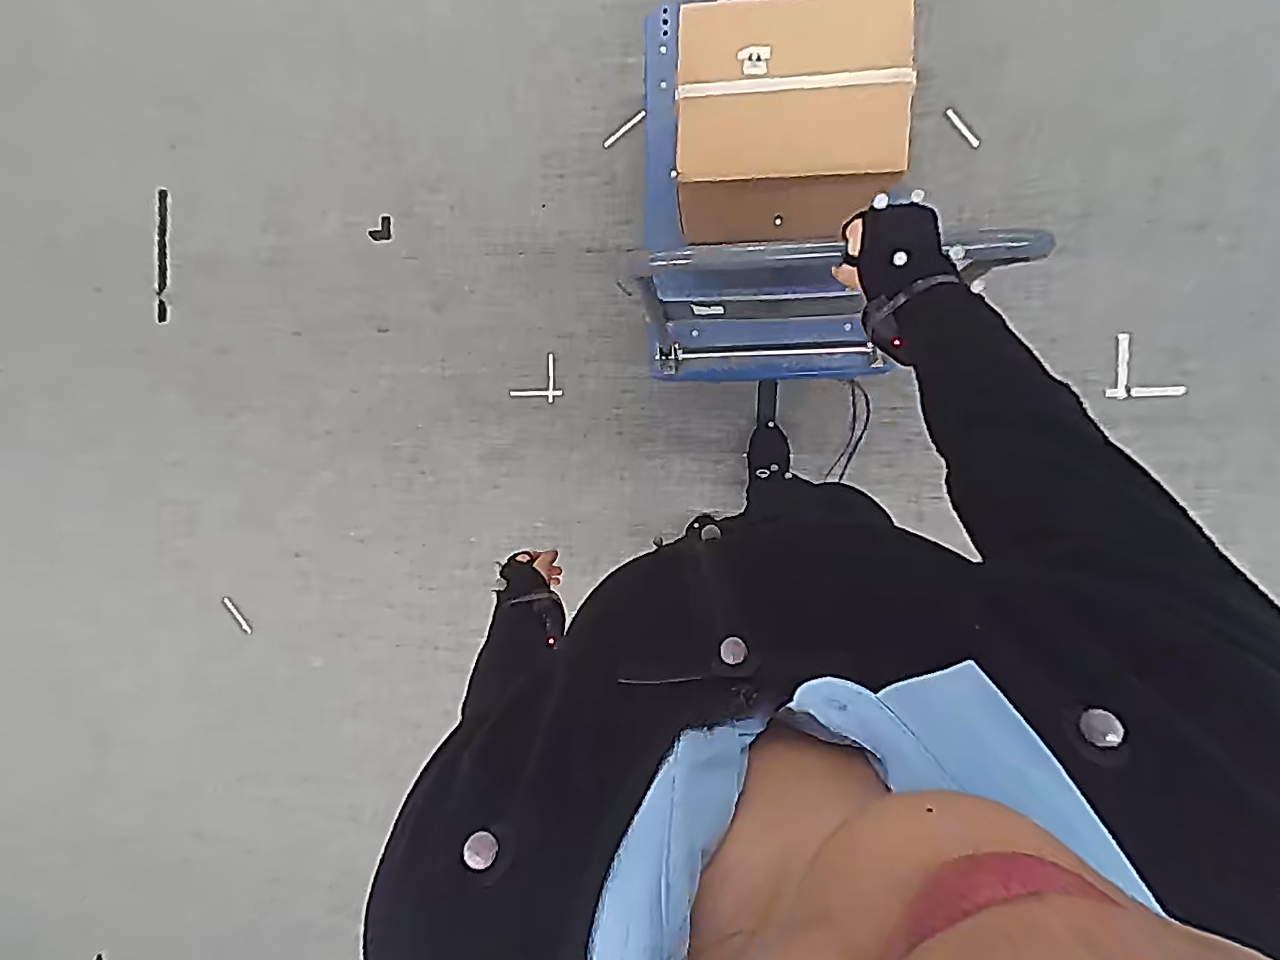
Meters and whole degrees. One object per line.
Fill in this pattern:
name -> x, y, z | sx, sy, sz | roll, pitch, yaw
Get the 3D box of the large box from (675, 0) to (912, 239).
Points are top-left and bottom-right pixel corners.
large box -> 0.285, -0.705, 1.089 | 0.408, 0.320, 0.320 | 1, 93, 9
